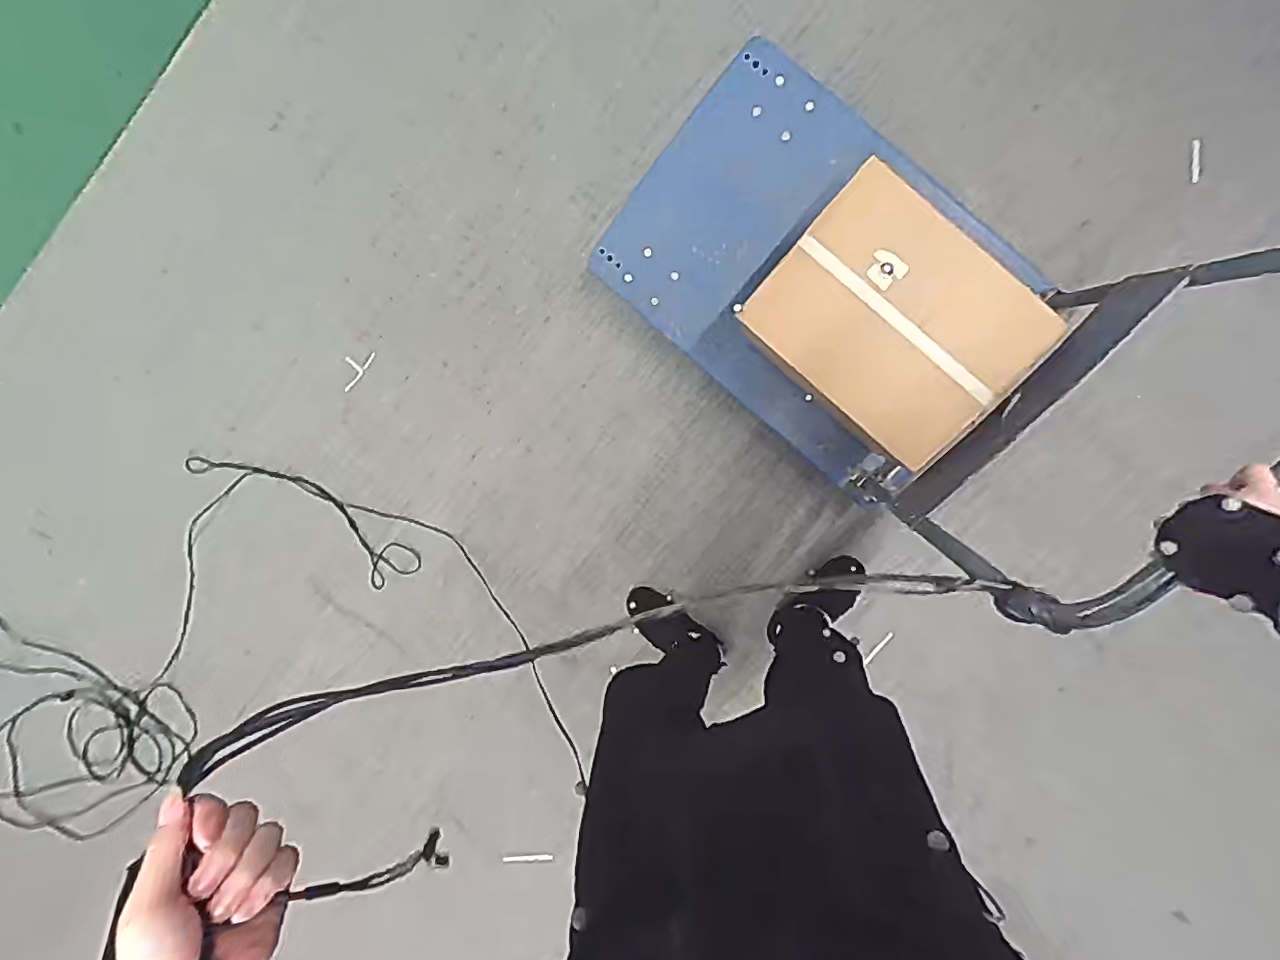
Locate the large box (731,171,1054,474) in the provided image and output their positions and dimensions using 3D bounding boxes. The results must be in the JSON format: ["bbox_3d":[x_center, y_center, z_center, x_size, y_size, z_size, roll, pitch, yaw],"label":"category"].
[{"bbox_3d":[0.430,-0.272,1.021,0.408,0.320,0.320,43,105,2],"label":"large box"}]
